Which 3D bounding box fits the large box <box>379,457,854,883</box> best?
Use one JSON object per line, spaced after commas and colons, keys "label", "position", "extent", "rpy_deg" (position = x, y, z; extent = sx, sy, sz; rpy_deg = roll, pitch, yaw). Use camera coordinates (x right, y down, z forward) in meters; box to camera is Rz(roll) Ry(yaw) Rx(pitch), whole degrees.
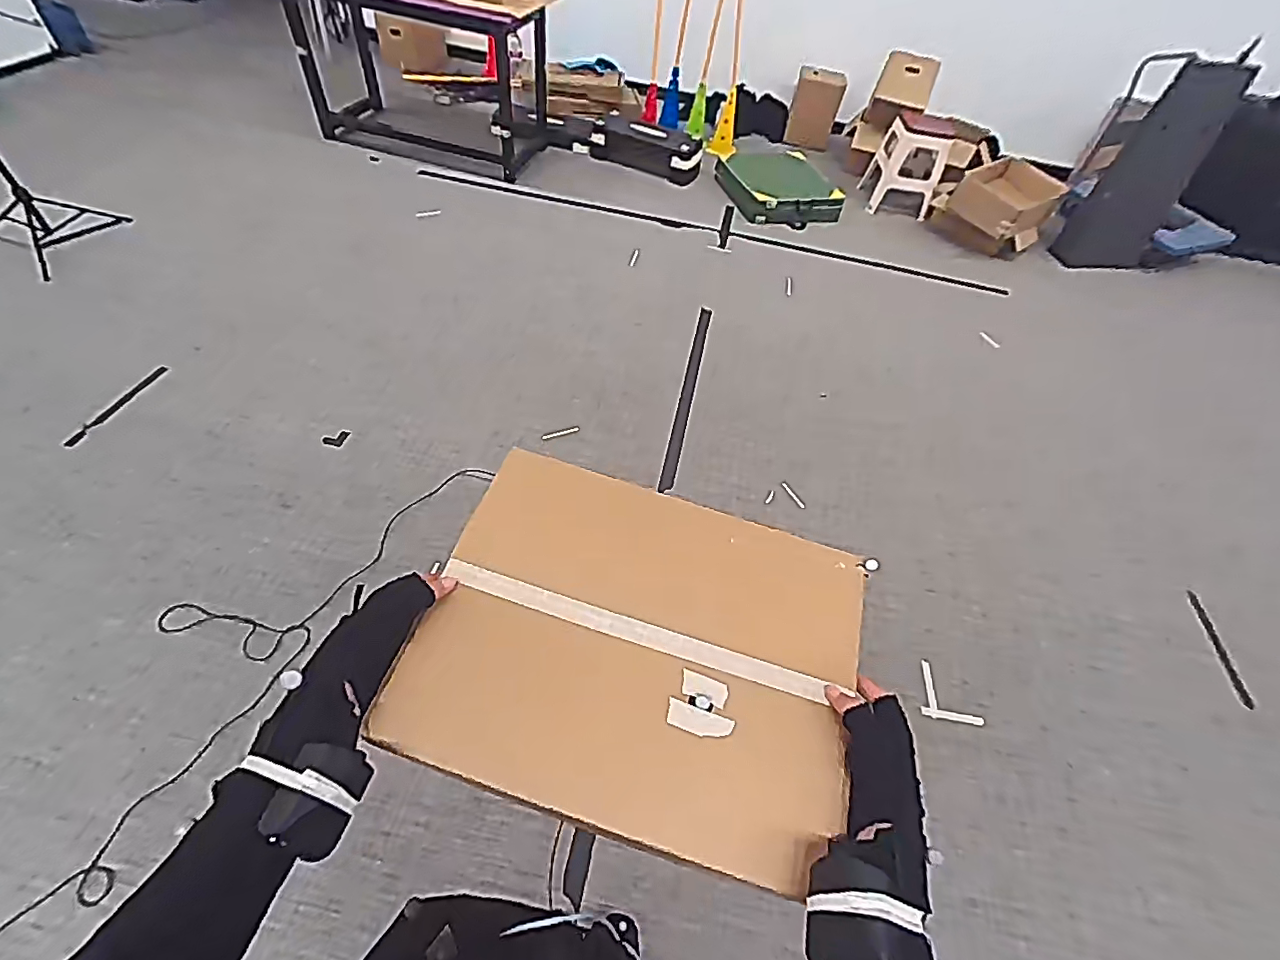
{"label": "large box", "position": [-0.012, 0.227, 0.649], "extent": [0.408, 0.320, 0.320], "rpy_deg": [18, 58, 3]}
